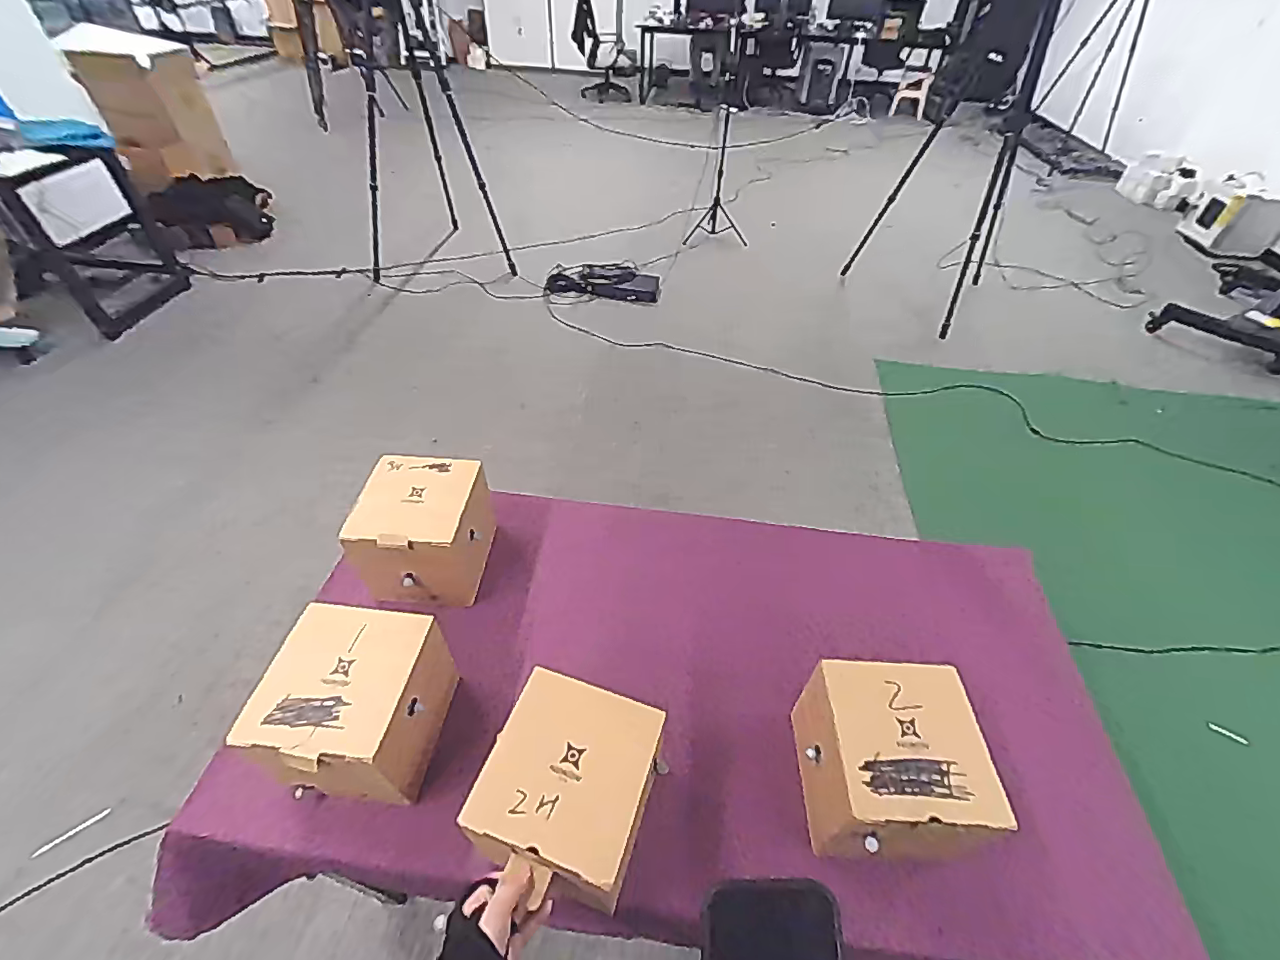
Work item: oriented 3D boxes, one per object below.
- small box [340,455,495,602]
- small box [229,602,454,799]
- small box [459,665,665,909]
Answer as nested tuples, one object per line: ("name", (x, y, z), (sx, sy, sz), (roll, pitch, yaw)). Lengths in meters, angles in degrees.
("small box", (-0.345, 0.083, 0.883), (0.168, 0.176, 0.179), (4, 47, 1))
("small box", (-0.354, 0.282, 0.687), (0.168, 0.176, 0.179), (6, 44, 3))
("small box", (-0.079, 0.354, 0.627), (0.168, 0.176, 0.179), (15, 47, 13))
